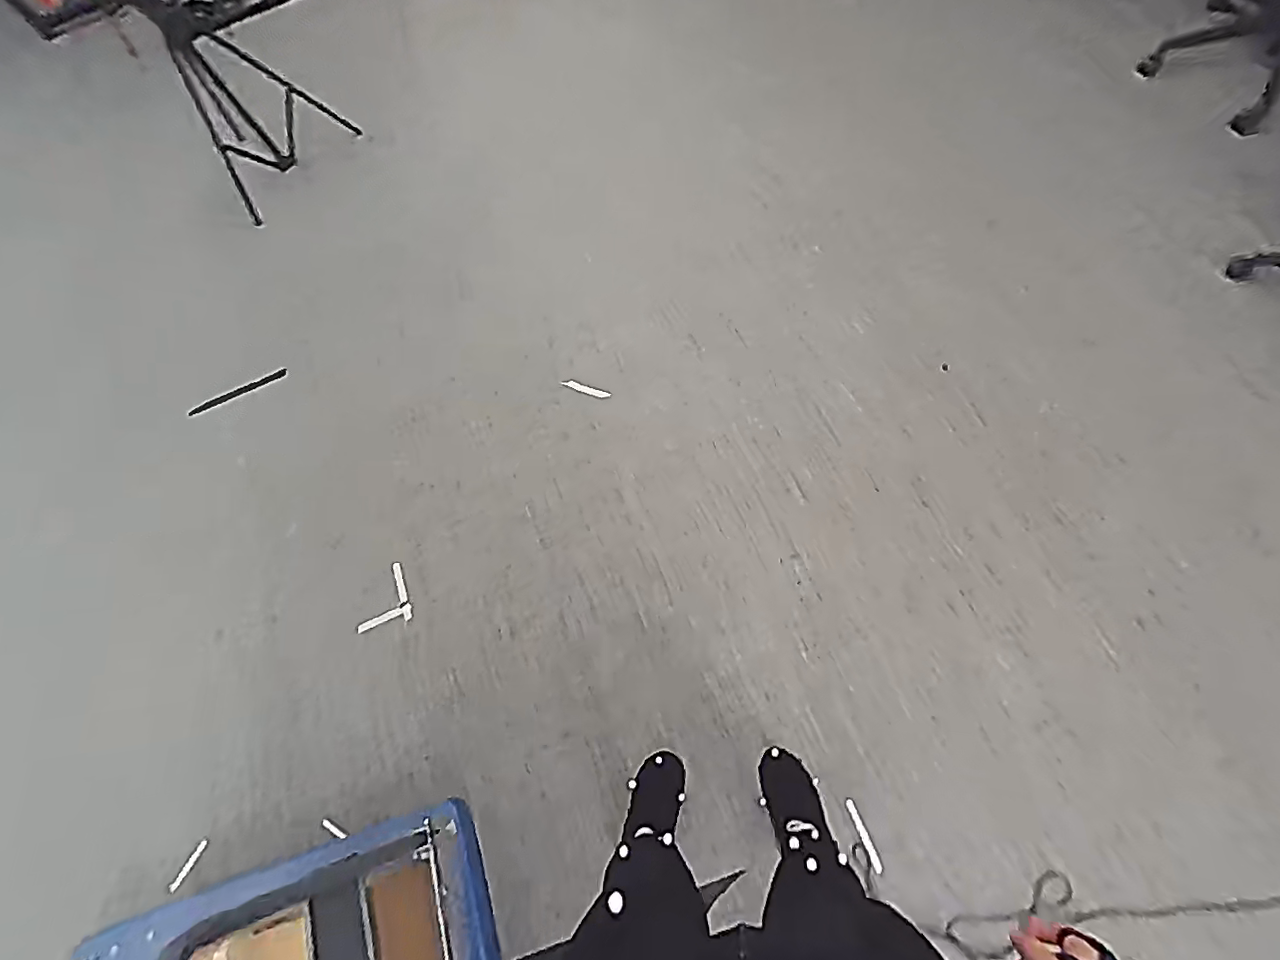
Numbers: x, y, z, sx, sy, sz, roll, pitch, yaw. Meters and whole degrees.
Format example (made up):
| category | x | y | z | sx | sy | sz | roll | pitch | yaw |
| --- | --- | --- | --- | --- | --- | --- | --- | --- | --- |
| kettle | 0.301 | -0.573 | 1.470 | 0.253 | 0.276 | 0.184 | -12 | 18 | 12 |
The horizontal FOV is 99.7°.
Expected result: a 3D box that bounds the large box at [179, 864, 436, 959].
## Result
| category | x | y | z | sx | sy | sz | roll | pitch | yaw |
| --- | --- | --- | --- | --- | --- | --- | --- | --- | --- |
| large box | -0.541 | 0.943 | 0.887 | 0.320 | 0.320 | 0.408 | -20 | 65 | -1 |
